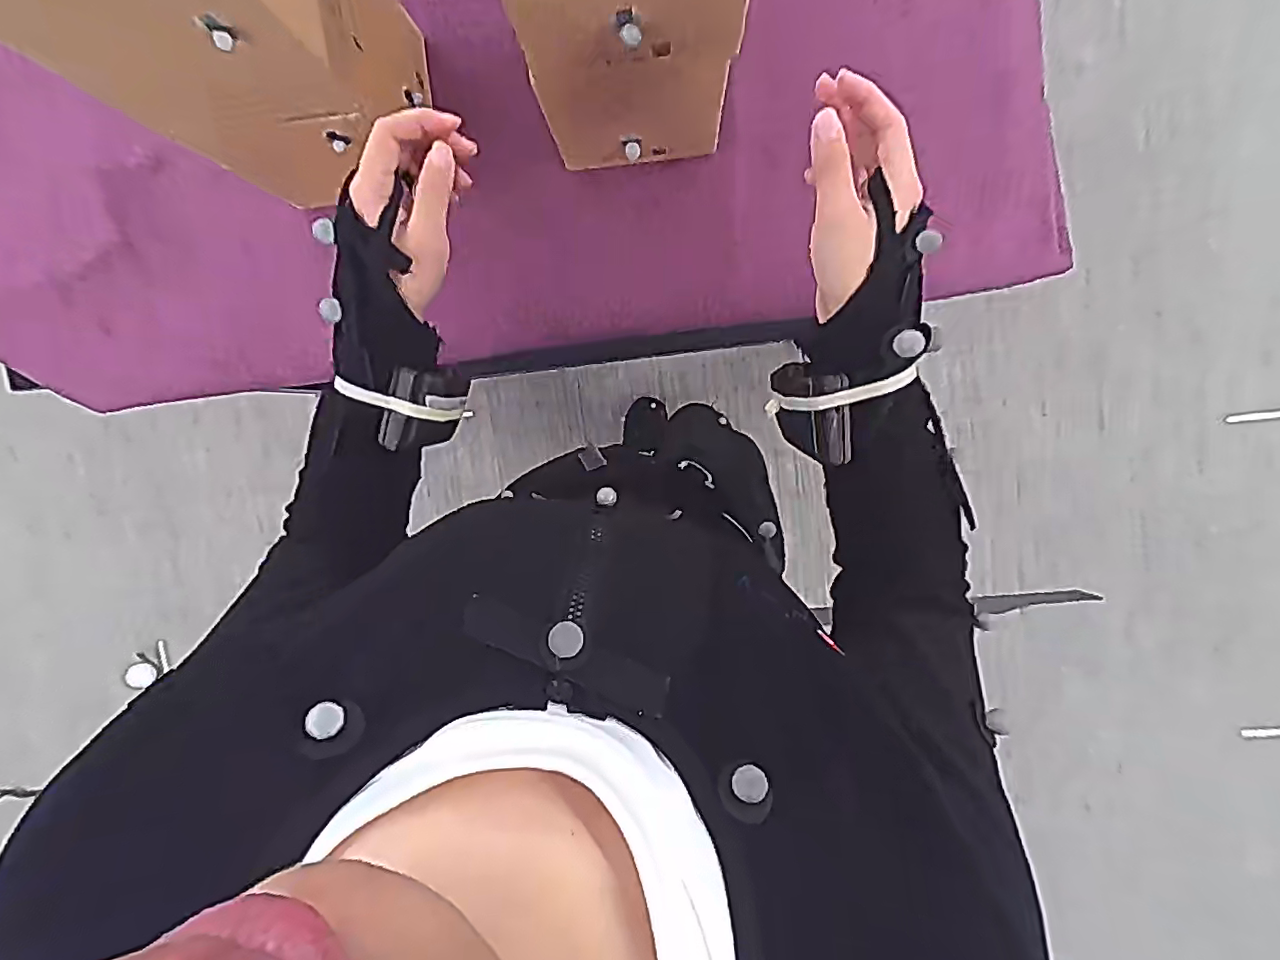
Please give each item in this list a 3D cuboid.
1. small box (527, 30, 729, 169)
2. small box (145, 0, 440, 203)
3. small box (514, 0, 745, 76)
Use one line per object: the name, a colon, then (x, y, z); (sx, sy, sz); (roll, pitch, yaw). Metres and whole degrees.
small box: (-0.011, -0.427, 0.508); (0.168, 0.176, 0.179); (-4, 97, 4)
small box: (-0.322, -0.393, 0.530); (0.179, 0.176, 0.168); (-6, 96, 3)
small box: (-0.015, -0.408, 0.344); (0.168, 0.176, 0.179); (-4, 97, 4)
